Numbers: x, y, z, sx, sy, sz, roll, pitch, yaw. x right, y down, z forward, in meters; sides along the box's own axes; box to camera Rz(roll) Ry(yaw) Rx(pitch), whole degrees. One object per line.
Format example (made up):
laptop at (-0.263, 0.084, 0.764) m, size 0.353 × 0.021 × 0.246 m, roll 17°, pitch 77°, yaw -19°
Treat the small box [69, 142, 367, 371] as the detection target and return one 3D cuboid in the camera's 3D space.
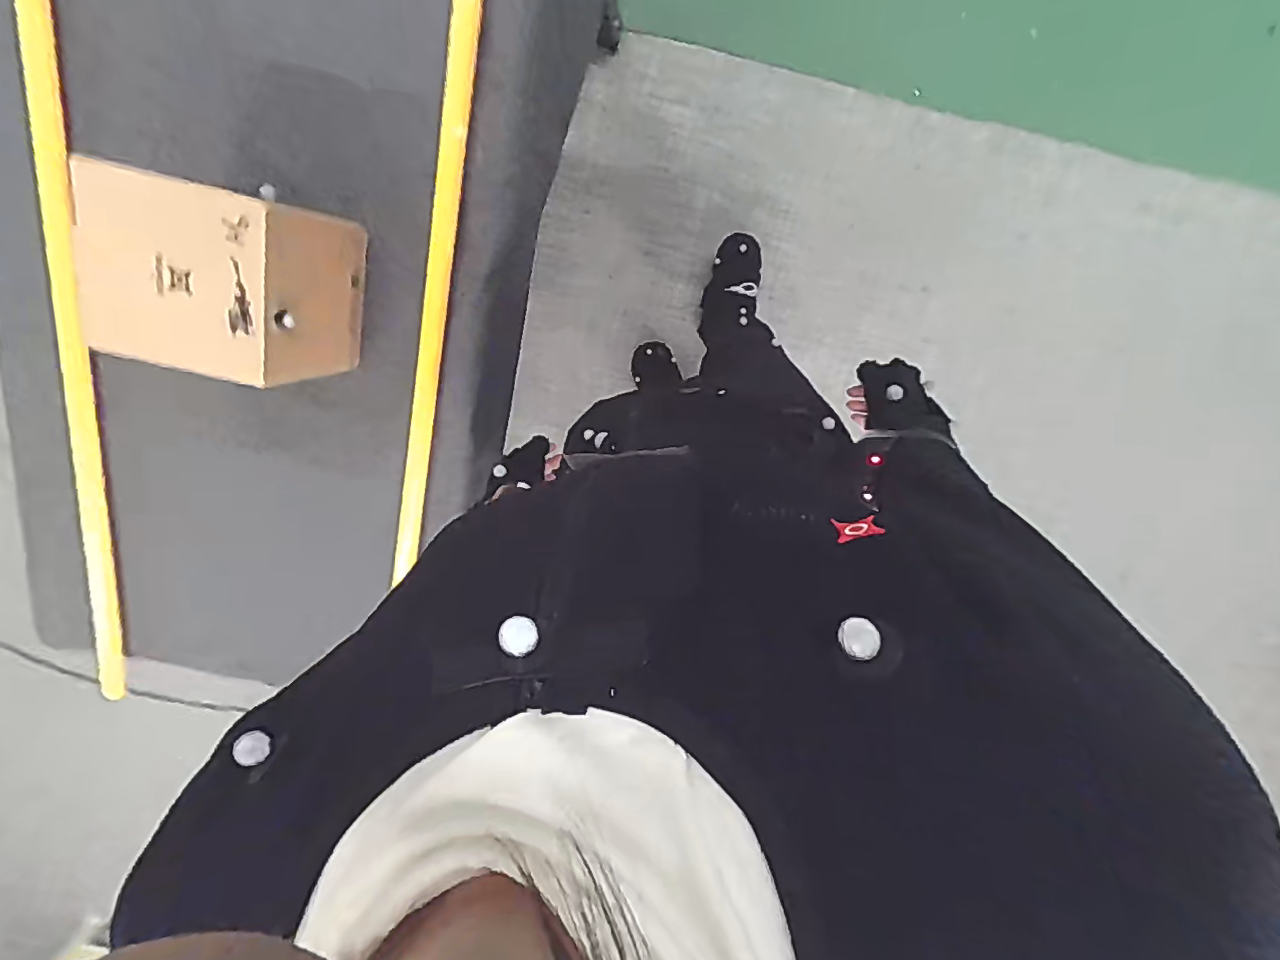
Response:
small box at (-0.421, -0.223, 0.567) m, size 0.179 × 0.176 × 0.168 m, roll 13°, pitch 109°, yaw 0°
